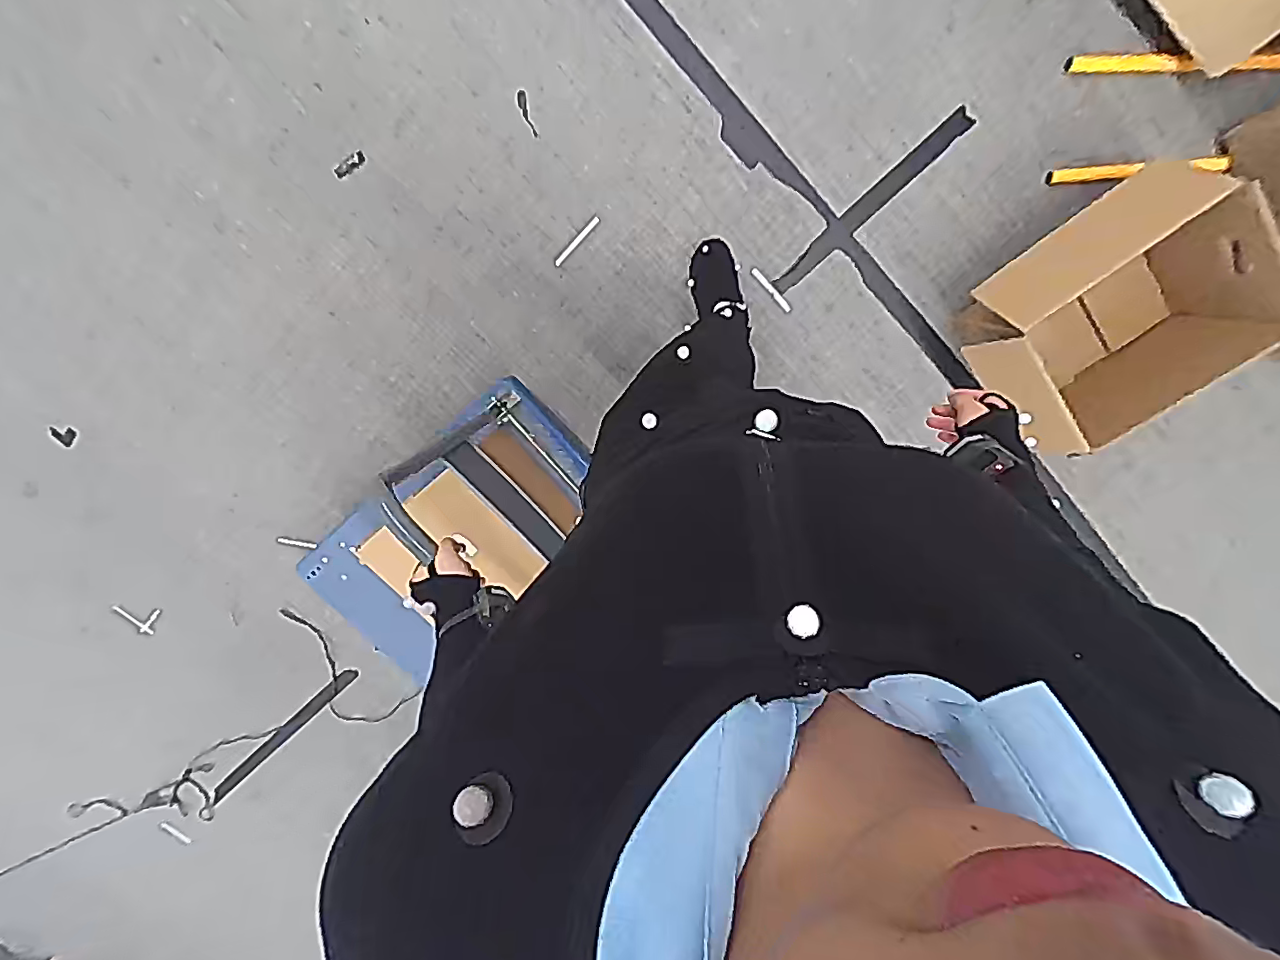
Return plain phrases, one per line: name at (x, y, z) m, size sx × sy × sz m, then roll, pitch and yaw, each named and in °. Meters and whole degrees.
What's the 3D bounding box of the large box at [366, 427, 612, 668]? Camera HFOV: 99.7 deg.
large box at (-0.326, 0.147, 1.280) m, size 0.320 × 0.320 × 0.408 m, roll -38°, pitch 102°, yaw 16°
